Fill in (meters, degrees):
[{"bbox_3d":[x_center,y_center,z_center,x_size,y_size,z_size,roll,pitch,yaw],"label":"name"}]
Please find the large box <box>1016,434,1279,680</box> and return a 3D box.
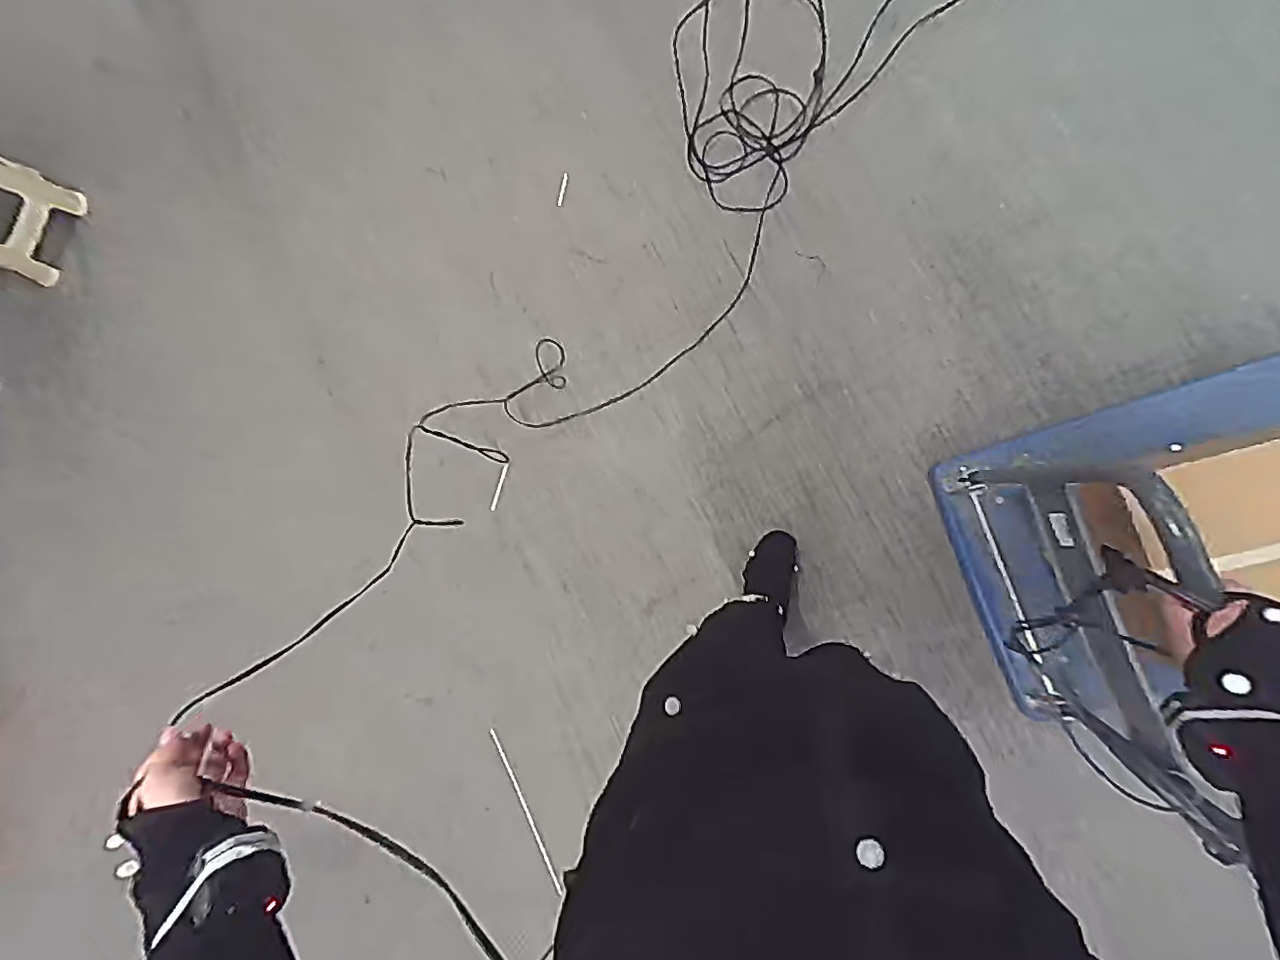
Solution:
[{"bbox_3d":[0.994,0.116,0.957,0.408,0.320,0.320,-17,84,10],"label":"large box"}]
